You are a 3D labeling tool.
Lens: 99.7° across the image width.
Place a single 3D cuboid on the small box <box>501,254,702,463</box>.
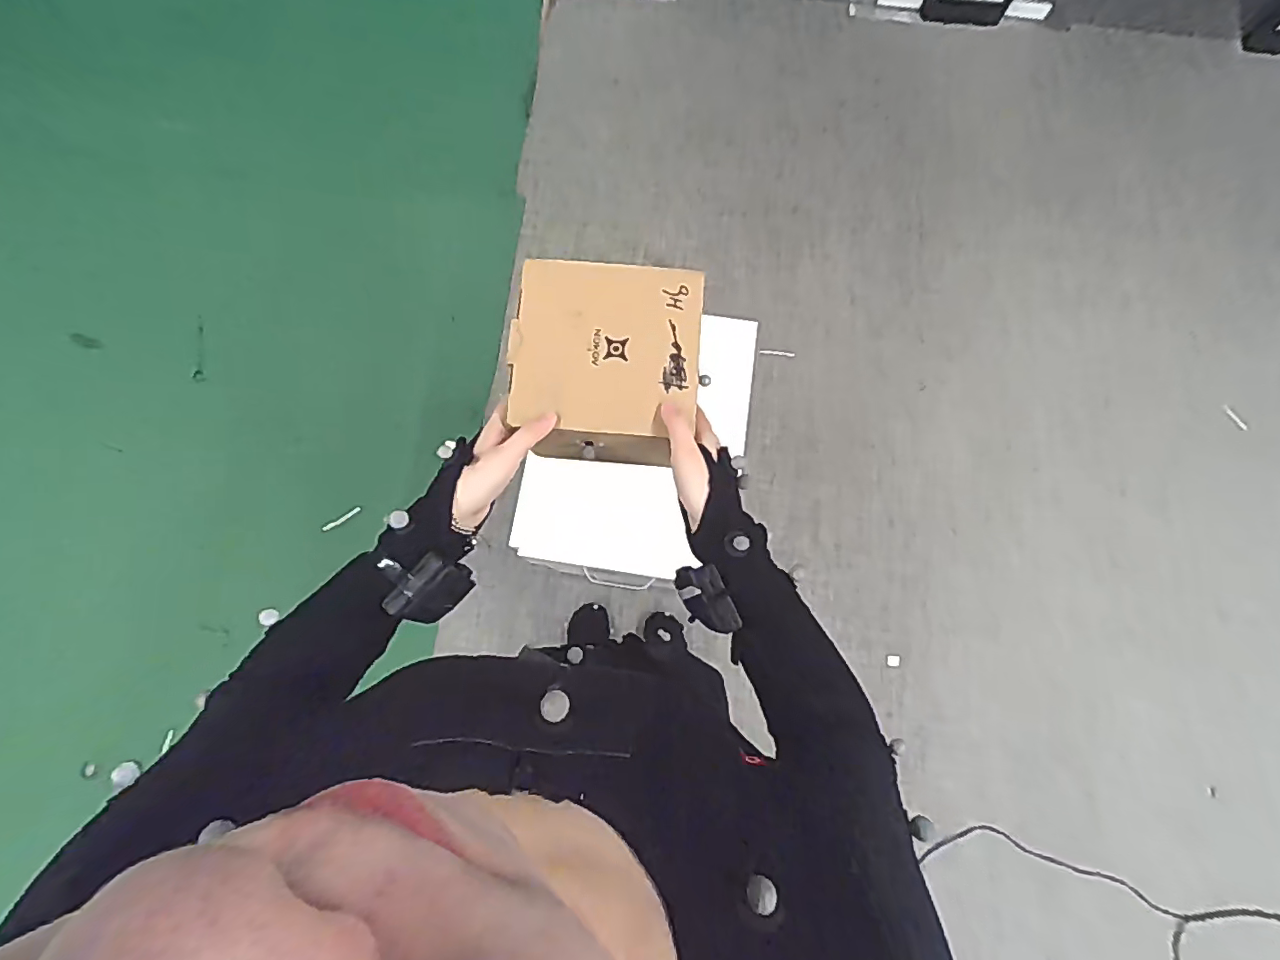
[{"bbox_3d":[-0.034,-0.116,0.580,0.179,0.176,0.168,5,82,0],"label":"small box"}]
